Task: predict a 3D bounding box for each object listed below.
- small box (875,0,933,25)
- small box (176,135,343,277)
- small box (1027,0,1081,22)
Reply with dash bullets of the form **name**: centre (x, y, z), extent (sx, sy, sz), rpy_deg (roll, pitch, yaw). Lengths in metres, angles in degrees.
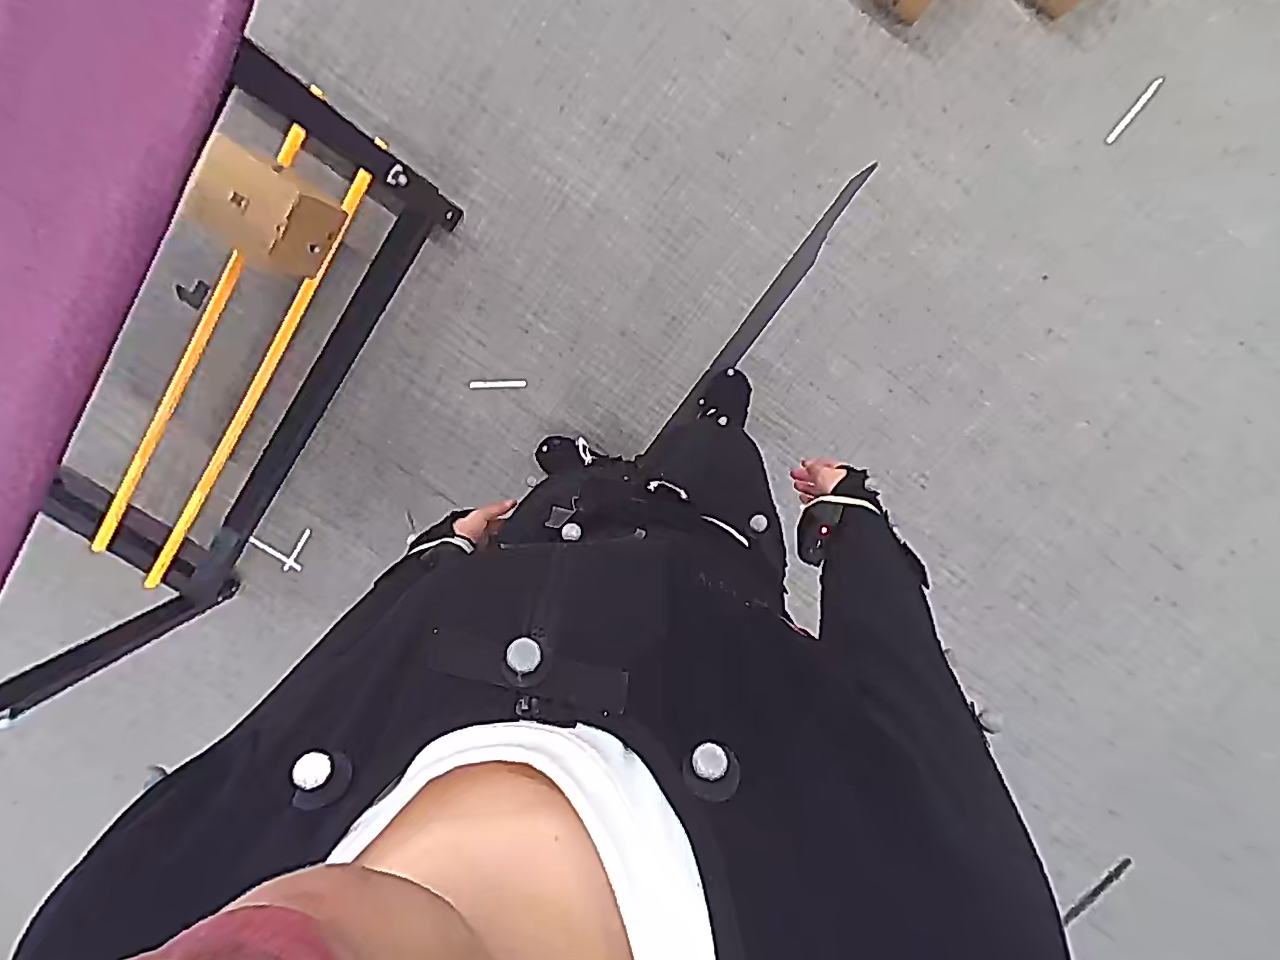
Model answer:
- **small box**: centre (0.558, -1.061, 1.052), extent (0.168, 0.176, 0.179), rpy_deg (34, 100, -6)
- **small box**: centre (-0.735, -0.522, 1.064), extent (0.179, 0.176, 0.168), rpy_deg (34, 101, -7)
- **small box**: centre (0.867, -1.067, 1.049), extent (0.168, 0.176, 0.179), rpy_deg (38, 101, -7)
